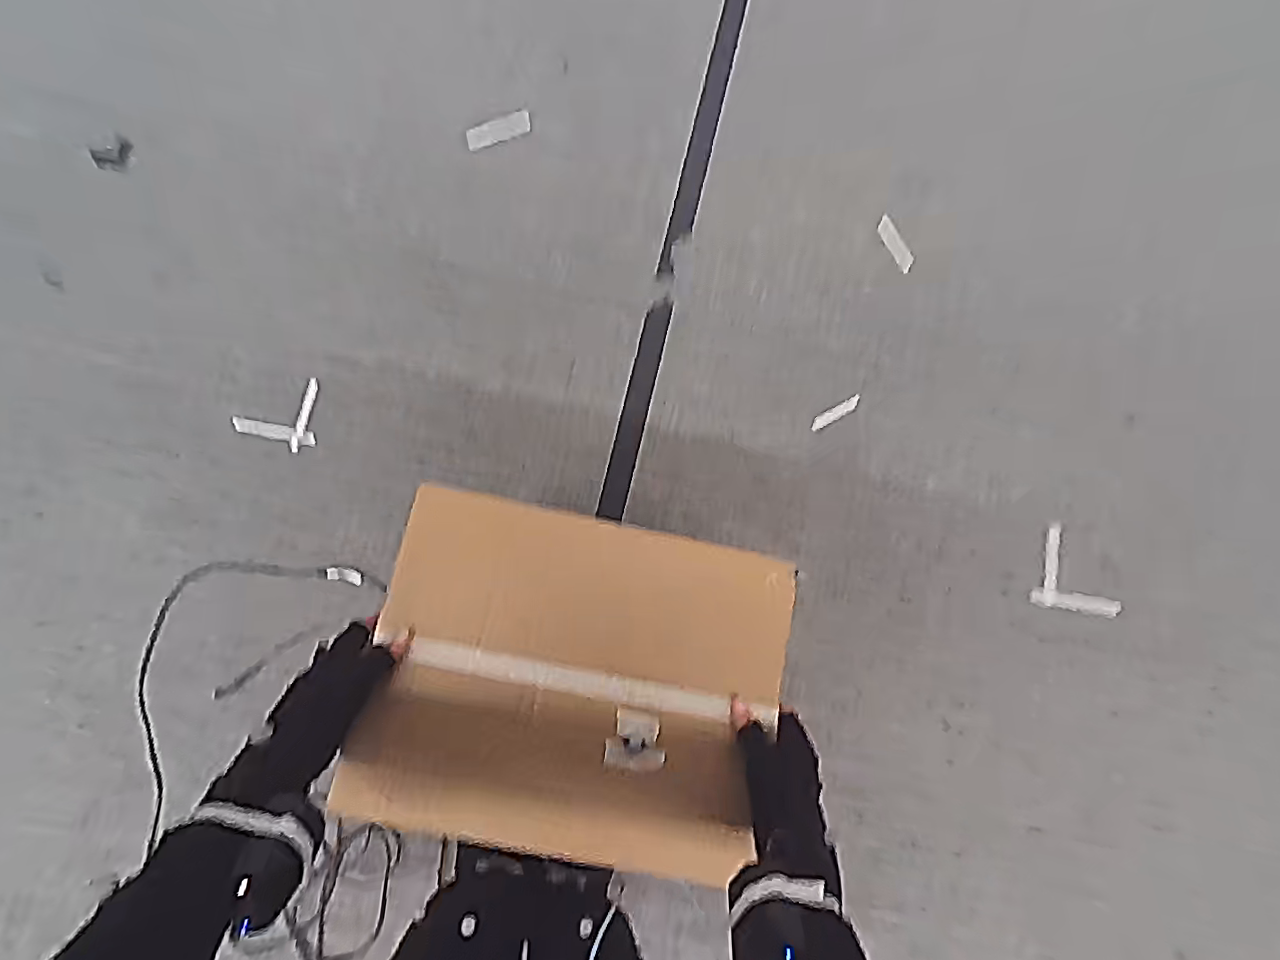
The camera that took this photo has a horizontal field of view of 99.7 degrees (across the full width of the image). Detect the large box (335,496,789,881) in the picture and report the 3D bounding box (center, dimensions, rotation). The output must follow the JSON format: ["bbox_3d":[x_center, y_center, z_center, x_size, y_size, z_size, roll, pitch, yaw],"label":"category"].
[{"bbox_3d":[-0.075,0.229,0.681,0.408,0.320,0.320,12,78,-3],"label":"large box"}]
